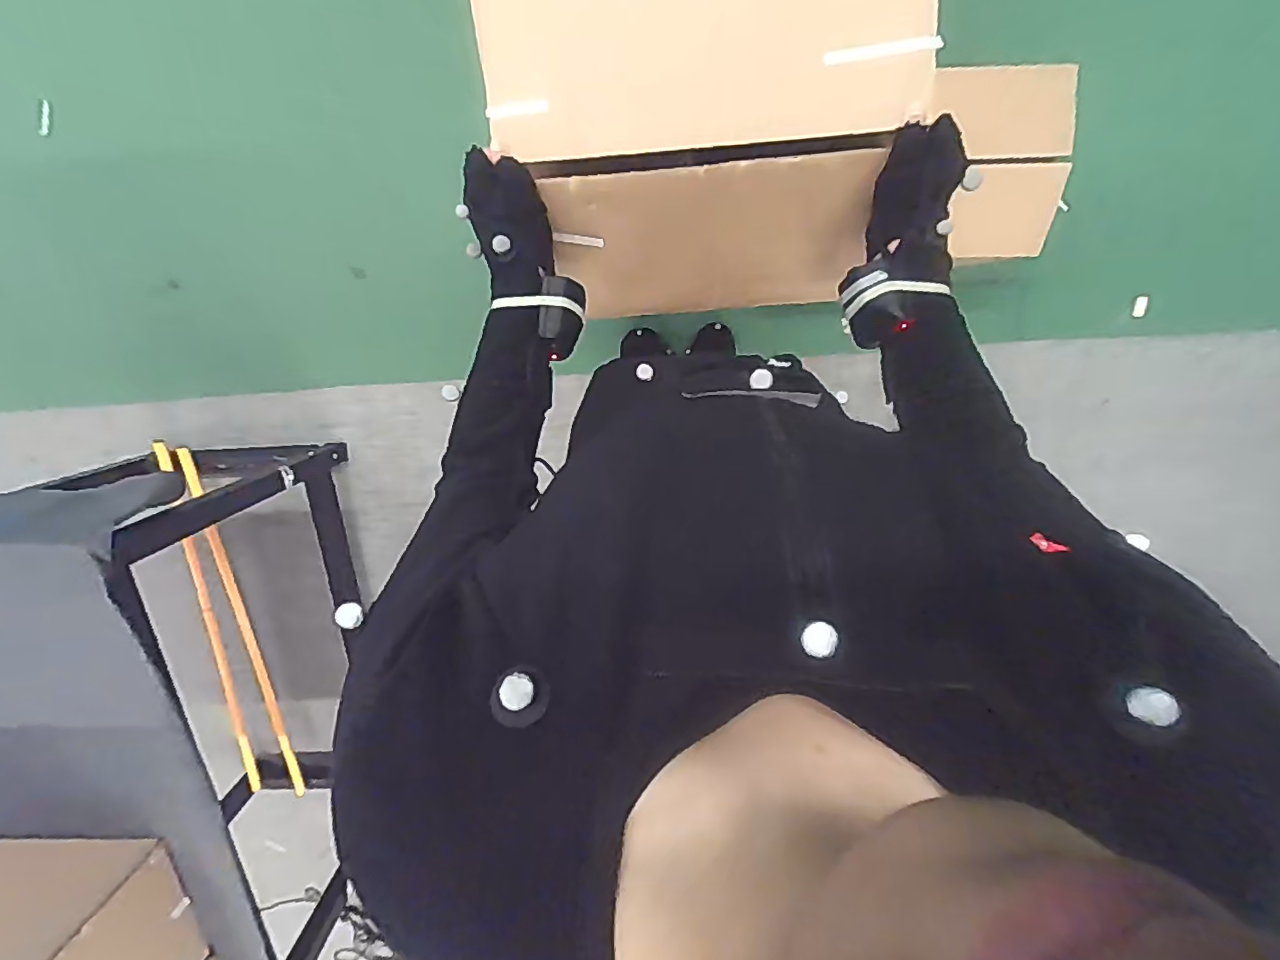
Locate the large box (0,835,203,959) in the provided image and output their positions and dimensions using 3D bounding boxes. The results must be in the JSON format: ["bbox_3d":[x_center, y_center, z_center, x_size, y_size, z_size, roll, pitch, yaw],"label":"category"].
[{"bbox_3d":[-1.082,0.854,0.908,0.408,0.320,0.320,-3,108,3],"label":"large box"}]
